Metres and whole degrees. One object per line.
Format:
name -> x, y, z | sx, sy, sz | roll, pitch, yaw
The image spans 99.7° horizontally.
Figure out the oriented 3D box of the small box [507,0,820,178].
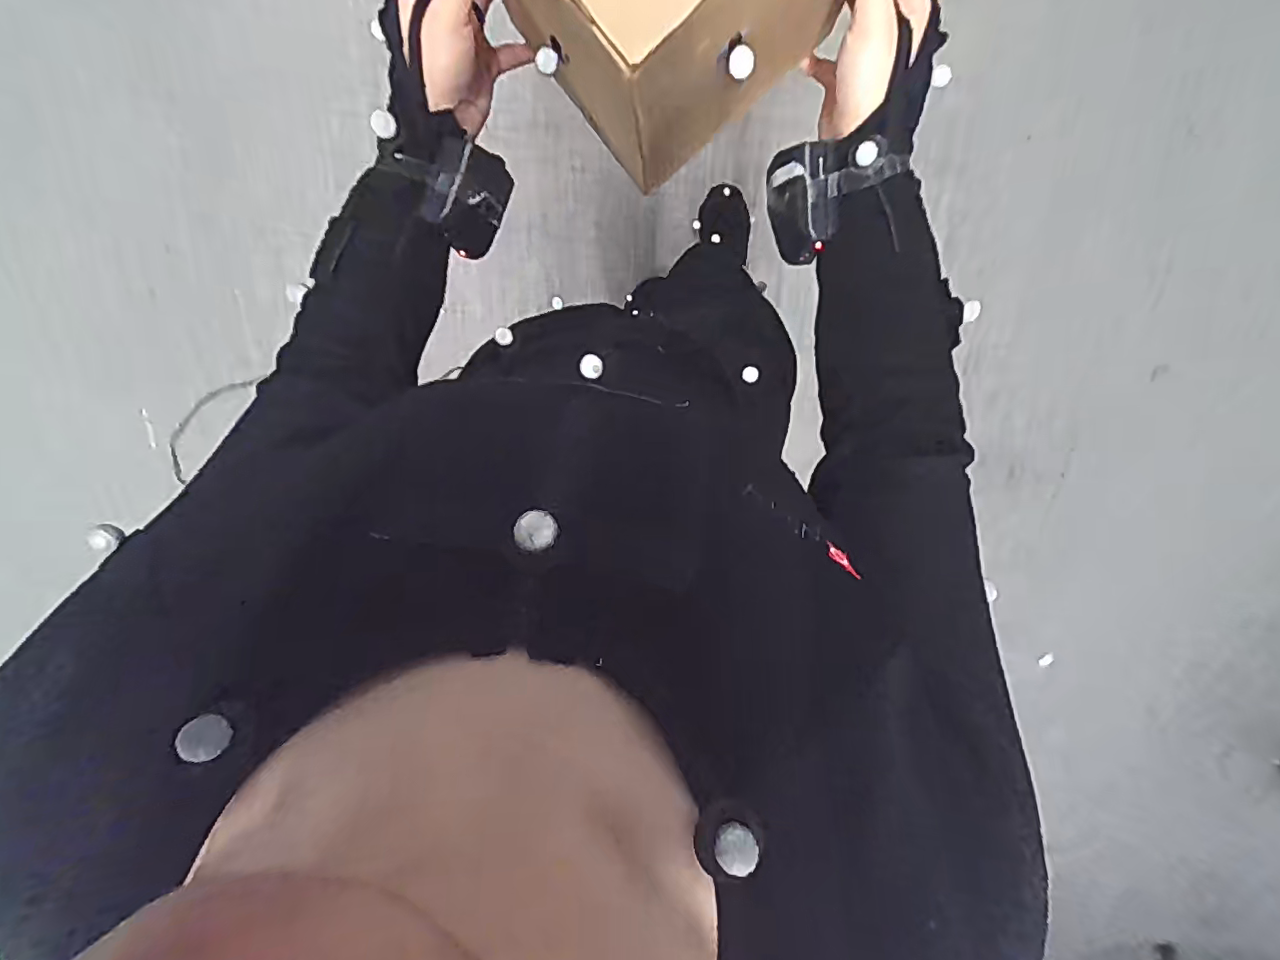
small box -> 0.011, -0.328, 0.326 | 0.179, 0.176, 0.168 | -40, 95, 9
